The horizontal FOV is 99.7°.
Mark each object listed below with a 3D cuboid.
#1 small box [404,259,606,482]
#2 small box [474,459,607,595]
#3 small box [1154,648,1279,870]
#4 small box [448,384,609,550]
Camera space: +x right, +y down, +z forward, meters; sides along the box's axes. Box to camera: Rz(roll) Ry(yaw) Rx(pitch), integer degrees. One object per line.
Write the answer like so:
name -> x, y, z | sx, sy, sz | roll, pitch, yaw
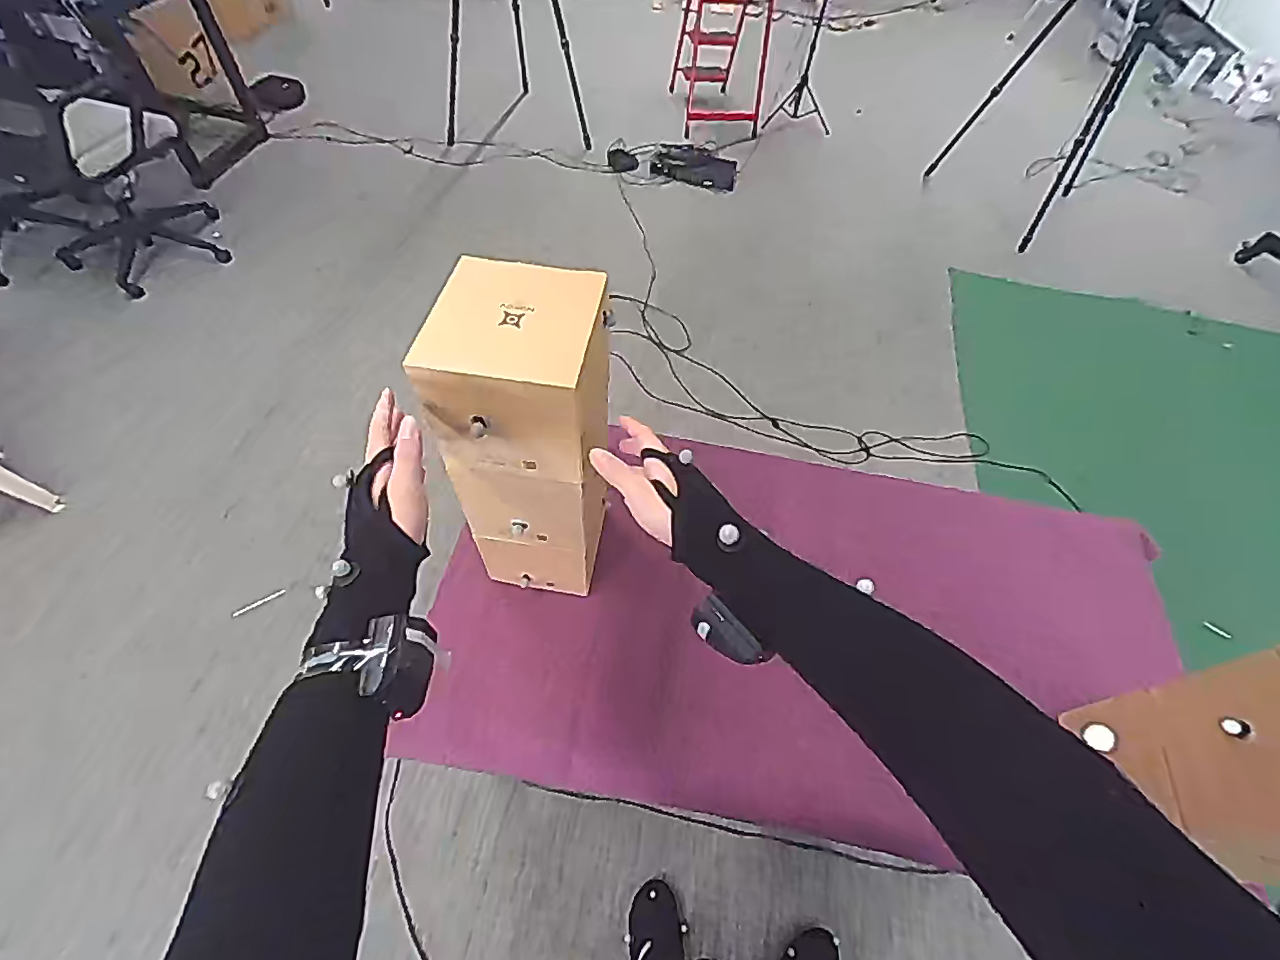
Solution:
small box -> -0.132, -0.118, 0.611 | 0.168, 0.176, 0.179 | 8, 55, 2
small box -> -0.151, 0.065, 0.880 | 0.168, 0.176, 0.179 | 9, 57, 2
small box -> 0.714, 0.309, 0.575 | 0.168, 0.176, 0.179 | 13, 55, 7
small box -> -0.140, -0.027, 0.745 | 0.168, 0.176, 0.179 | 8, 57, 3
